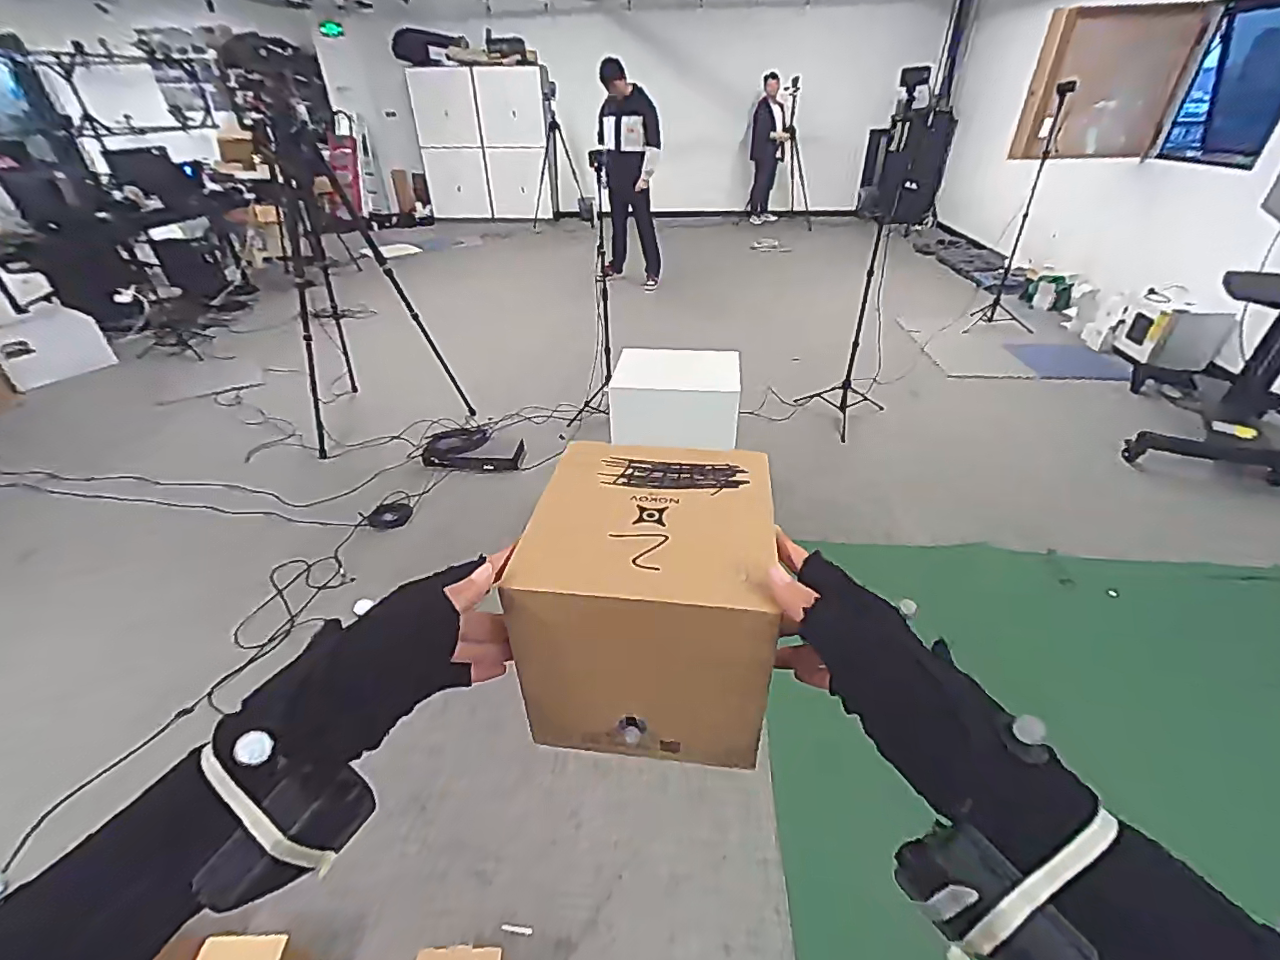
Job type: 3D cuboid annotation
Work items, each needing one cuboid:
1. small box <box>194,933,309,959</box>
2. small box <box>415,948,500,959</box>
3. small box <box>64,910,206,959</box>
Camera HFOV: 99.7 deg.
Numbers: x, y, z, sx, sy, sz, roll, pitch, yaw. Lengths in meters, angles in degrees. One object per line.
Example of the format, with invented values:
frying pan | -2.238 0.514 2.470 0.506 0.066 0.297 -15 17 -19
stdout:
small box | -0.778 1.019 1.051 0.168 0.176 0.179 -2 37 0
small box | -0.352 1.027 1.031 0.168 0.176 0.179 0 36 -1
small box | -1.031 0.999 1.082 0.168 0.176 0.179 0 35 2
